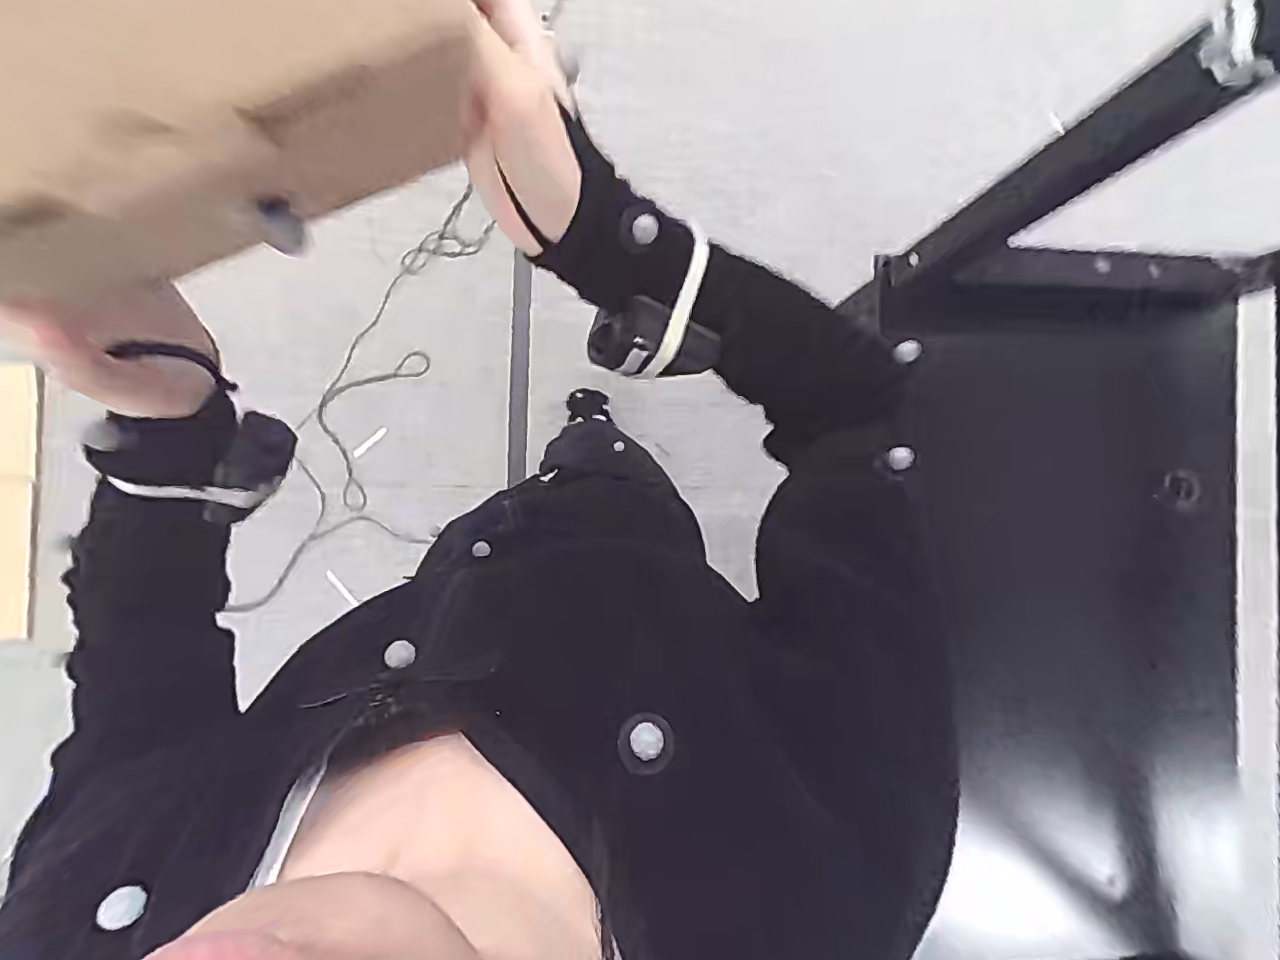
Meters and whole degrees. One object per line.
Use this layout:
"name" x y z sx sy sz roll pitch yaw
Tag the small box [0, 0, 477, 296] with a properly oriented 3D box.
"small box" -0.172 -0.172 0.166 0.168 0.176 0.179 -31 118 -10
